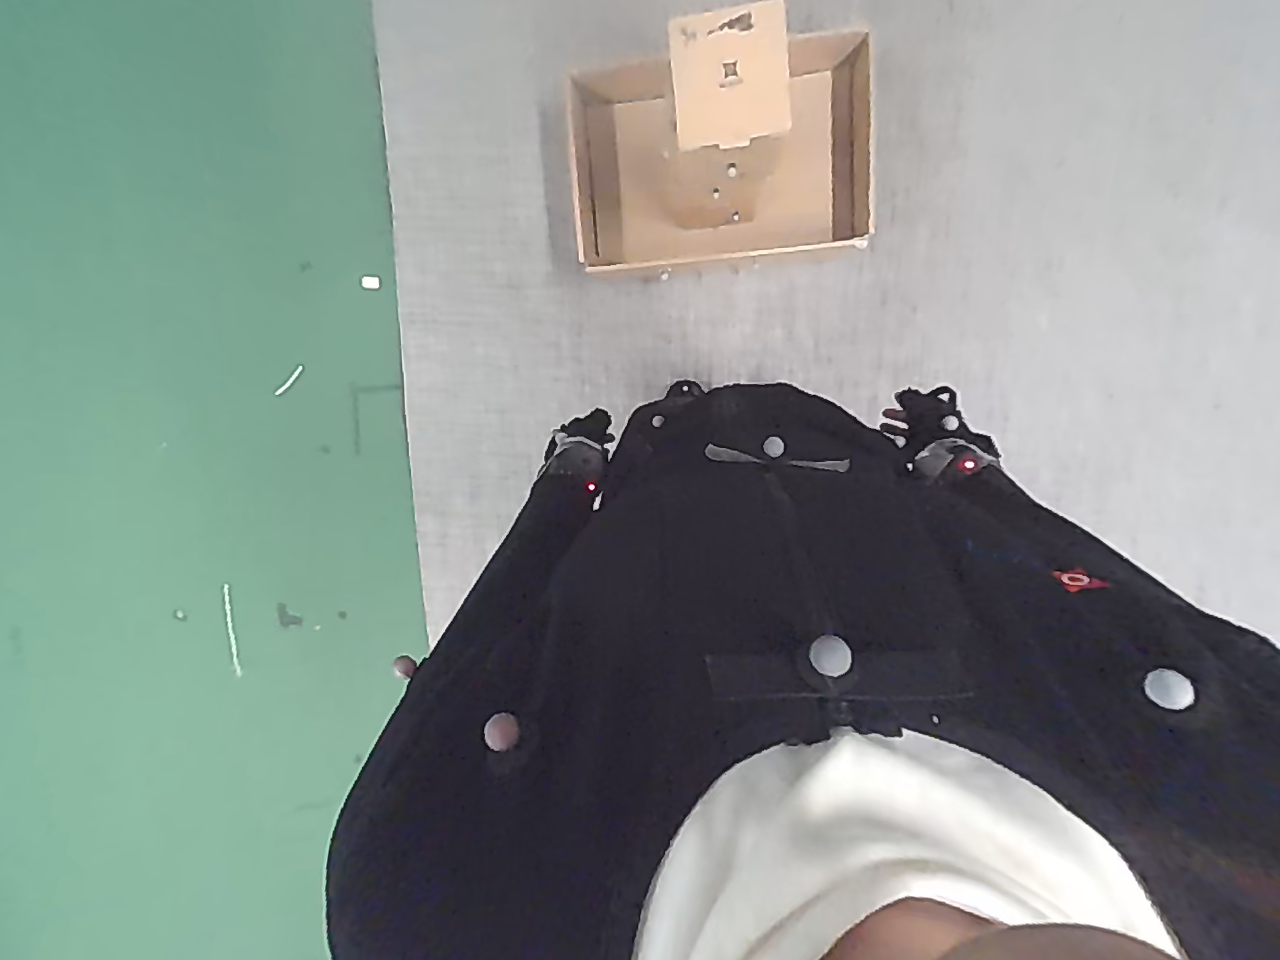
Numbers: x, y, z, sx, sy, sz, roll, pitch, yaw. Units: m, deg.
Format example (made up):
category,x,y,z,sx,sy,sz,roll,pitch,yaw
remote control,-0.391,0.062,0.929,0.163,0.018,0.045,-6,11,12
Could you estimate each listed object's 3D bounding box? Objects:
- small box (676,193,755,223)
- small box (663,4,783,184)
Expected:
category,x,y,z,sx,sy,sz,roll,pitch,yaw
small box,0.161,-0.673,1.175,0.168,0.176,0.179,-3,99,7
small box,0.135,-0.602,0.875,0.168,0.176,0.179,-6,100,9
